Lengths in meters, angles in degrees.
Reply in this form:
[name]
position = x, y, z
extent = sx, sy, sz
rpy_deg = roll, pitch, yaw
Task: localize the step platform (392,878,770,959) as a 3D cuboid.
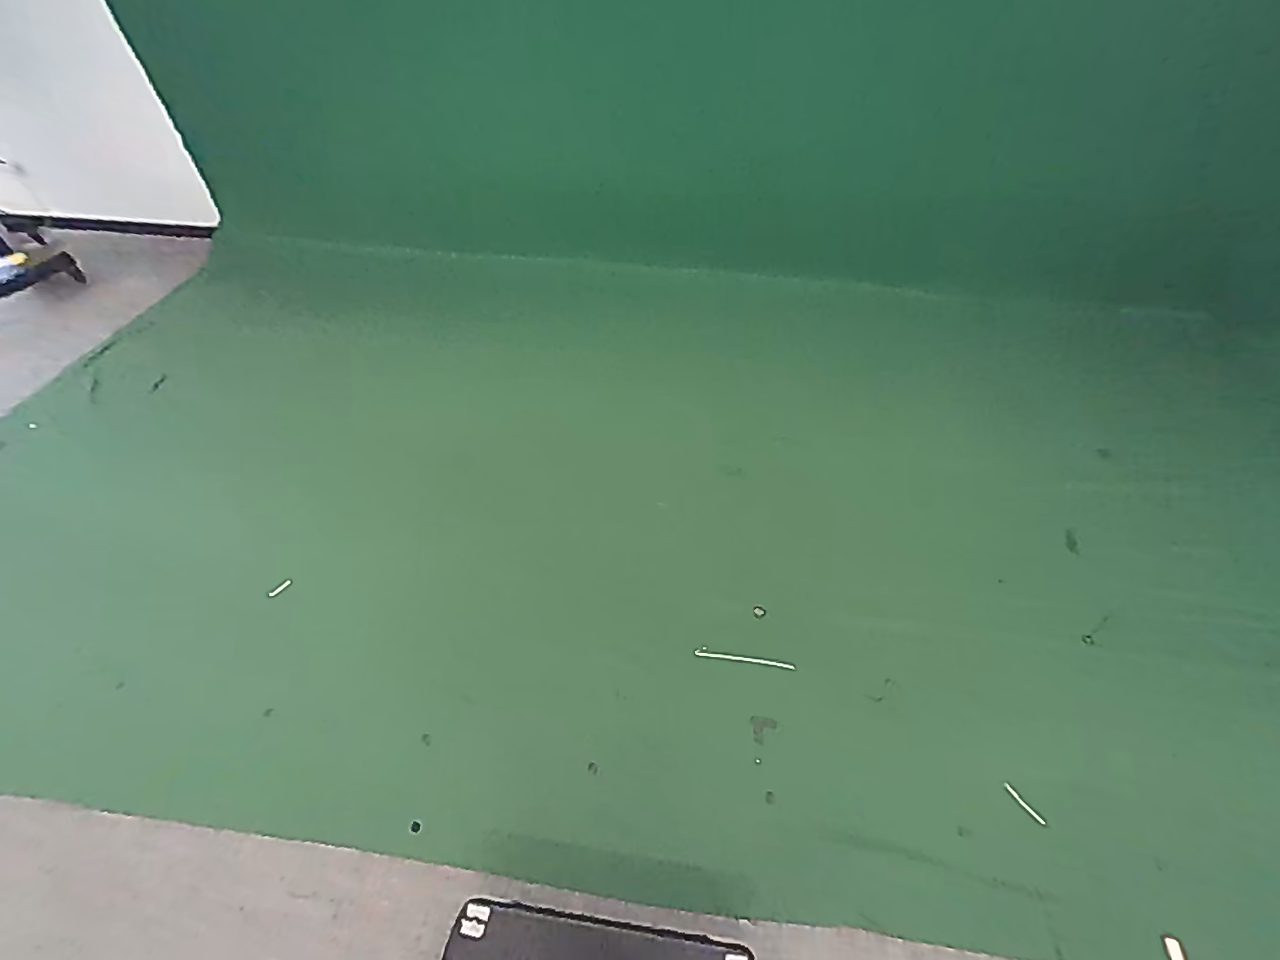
[step platform]
position = -0.108, 0.957, 0.991
extent = 0.684, 0.204, 0.286
rpy_deg = 6, 49, 5
